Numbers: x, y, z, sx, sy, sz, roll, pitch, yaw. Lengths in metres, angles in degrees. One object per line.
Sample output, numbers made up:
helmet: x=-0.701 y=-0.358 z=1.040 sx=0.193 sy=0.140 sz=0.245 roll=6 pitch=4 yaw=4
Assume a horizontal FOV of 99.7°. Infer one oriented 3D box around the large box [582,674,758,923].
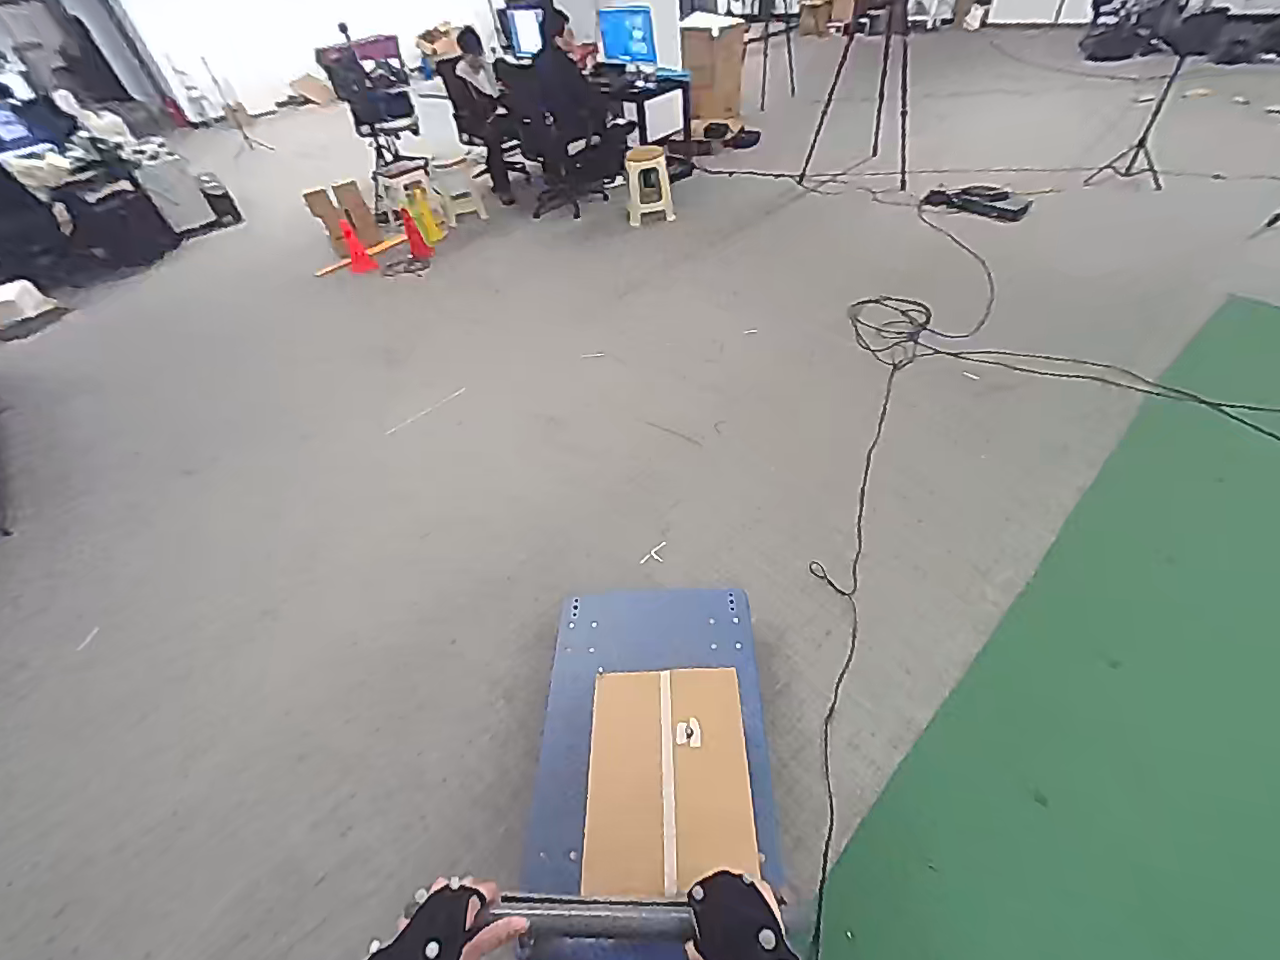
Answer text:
large box: x=0.067 y=0.688 z=1.177 sx=0.320 sy=0.320 sz=0.408 roll=-3 pitch=45 yaw=4
